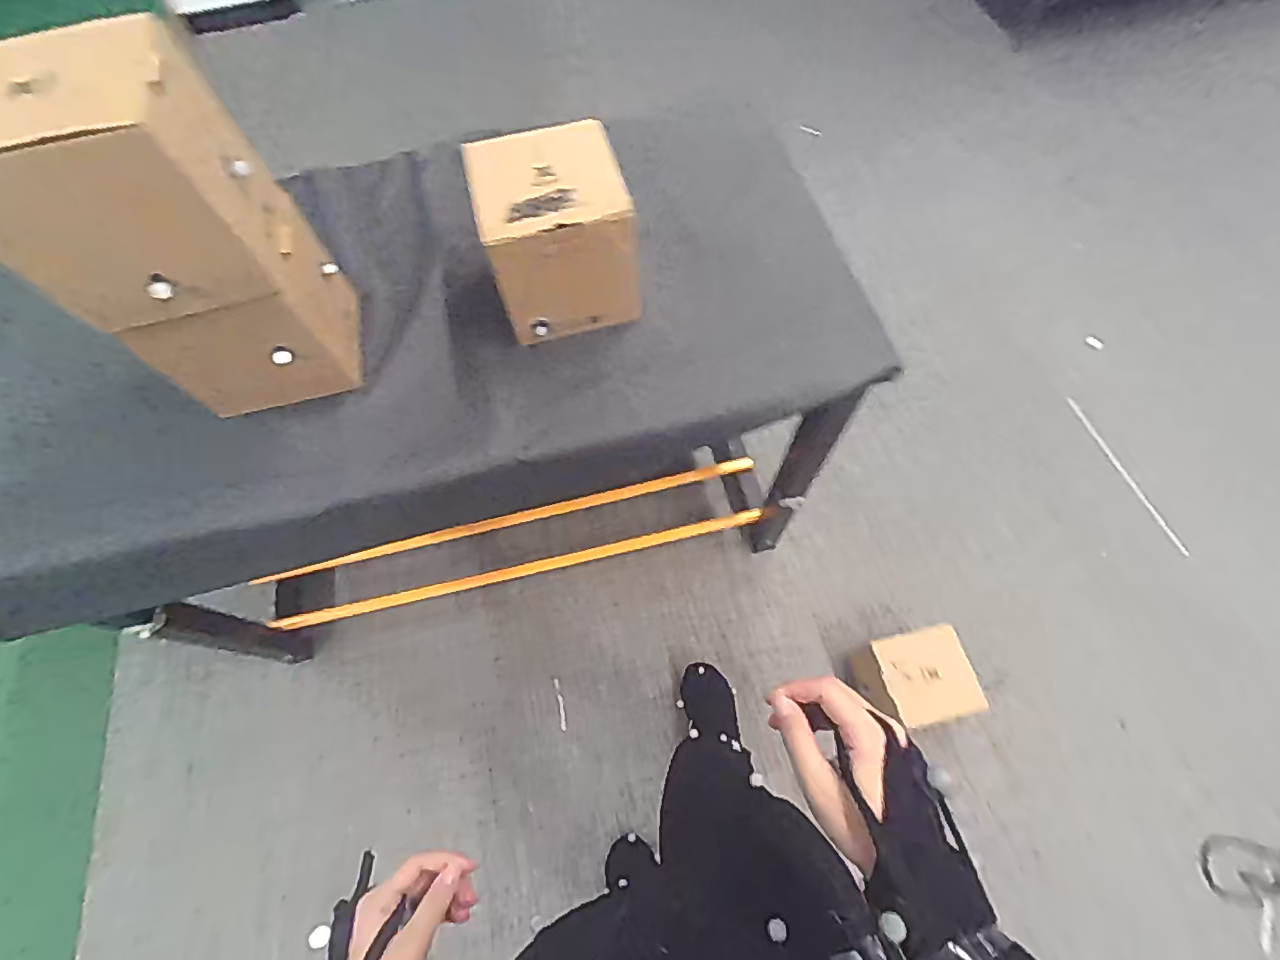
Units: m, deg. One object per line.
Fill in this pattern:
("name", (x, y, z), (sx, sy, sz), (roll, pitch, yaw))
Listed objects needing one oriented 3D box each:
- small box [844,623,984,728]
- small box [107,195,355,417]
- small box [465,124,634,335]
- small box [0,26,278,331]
("small box", (0.558, 0.412, 1.129), (0.179, 0.176, 0.168), (-13, 64, -4))
("small box", (-0.464, -0.201, 0.650), (0.179, 0.176, 0.168), (-15, 63, -5))
("small box", (-0.107, -0.306, 0.689), (0.168, 0.176, 0.179), (-15, 64, -6))
("small box", (-0.467, -0.269, 0.500), (0.179, 0.176, 0.168), (-17, 63, -7))
